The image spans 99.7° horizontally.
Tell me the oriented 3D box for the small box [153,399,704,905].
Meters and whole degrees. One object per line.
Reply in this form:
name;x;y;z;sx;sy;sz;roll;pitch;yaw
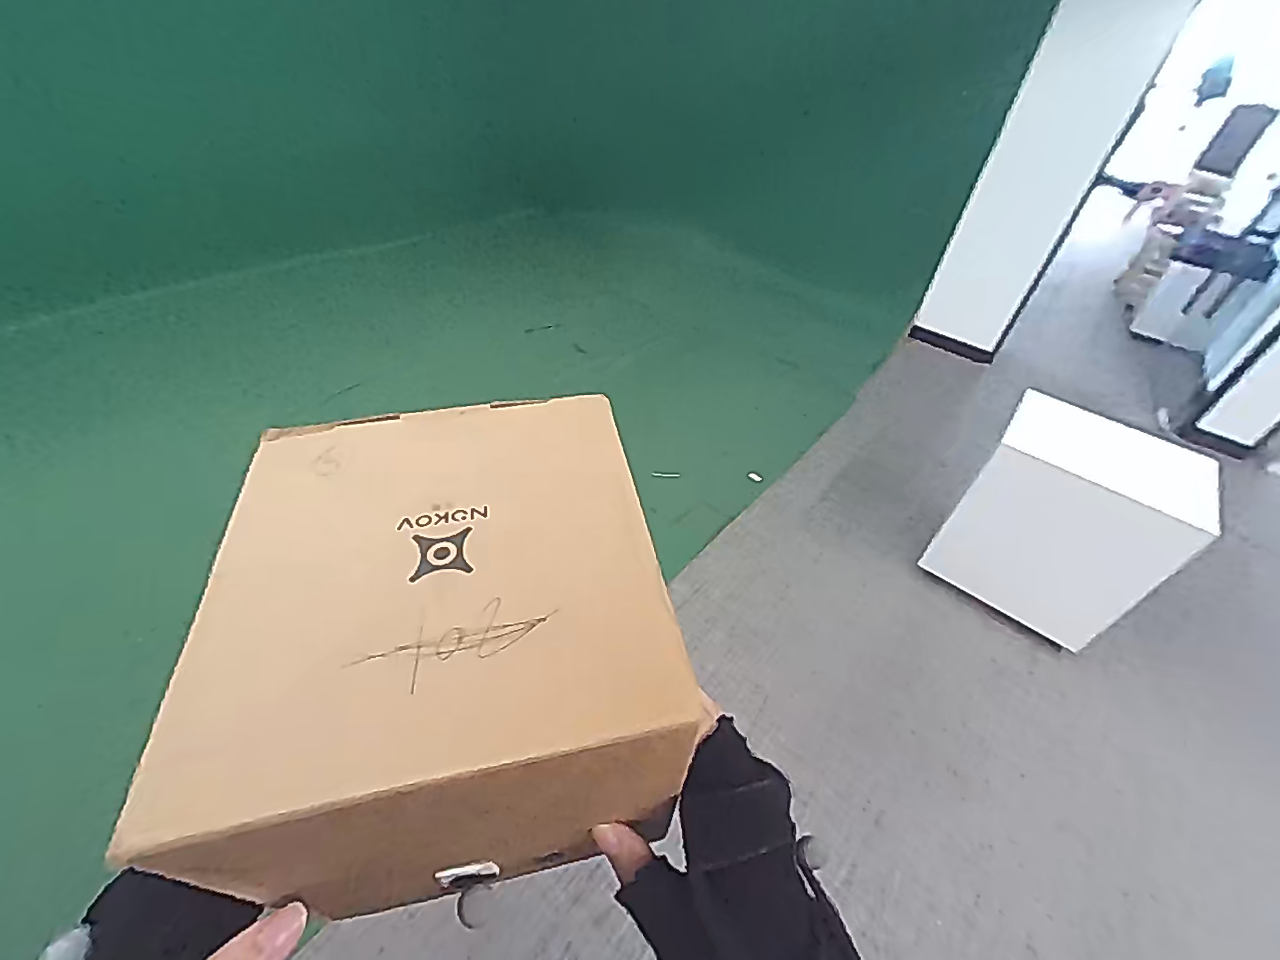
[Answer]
small box;-0.078;0.083;0.277;0.168;0.176;0.179;-8;47;-10
